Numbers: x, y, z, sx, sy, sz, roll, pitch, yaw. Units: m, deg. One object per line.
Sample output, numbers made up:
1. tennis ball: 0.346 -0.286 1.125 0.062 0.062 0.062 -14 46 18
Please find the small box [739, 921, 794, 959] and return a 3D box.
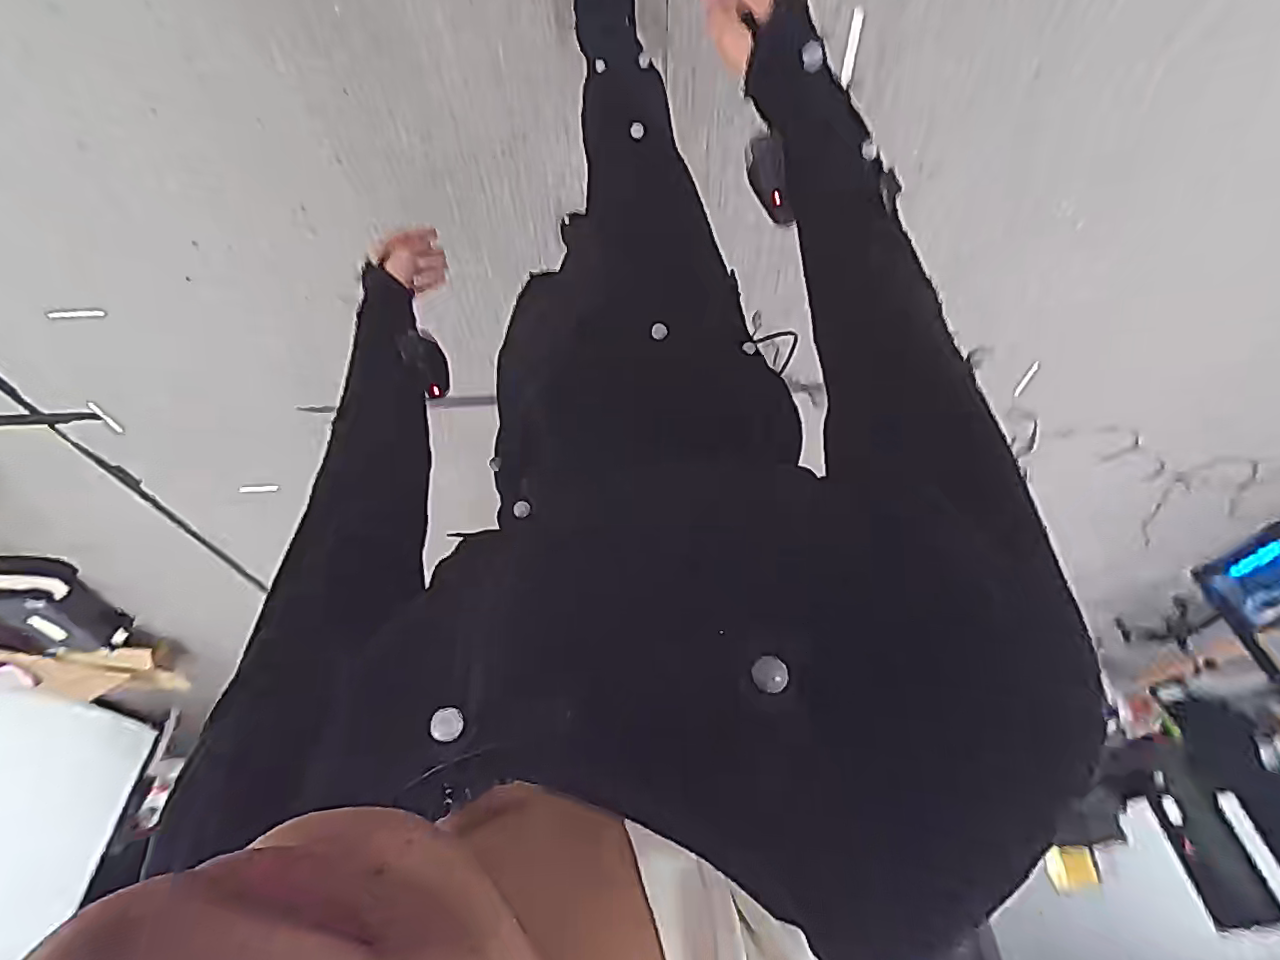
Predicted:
1. small box: 0.451 1.681 1.921 0.168 0.176 0.179 -5 142 1
